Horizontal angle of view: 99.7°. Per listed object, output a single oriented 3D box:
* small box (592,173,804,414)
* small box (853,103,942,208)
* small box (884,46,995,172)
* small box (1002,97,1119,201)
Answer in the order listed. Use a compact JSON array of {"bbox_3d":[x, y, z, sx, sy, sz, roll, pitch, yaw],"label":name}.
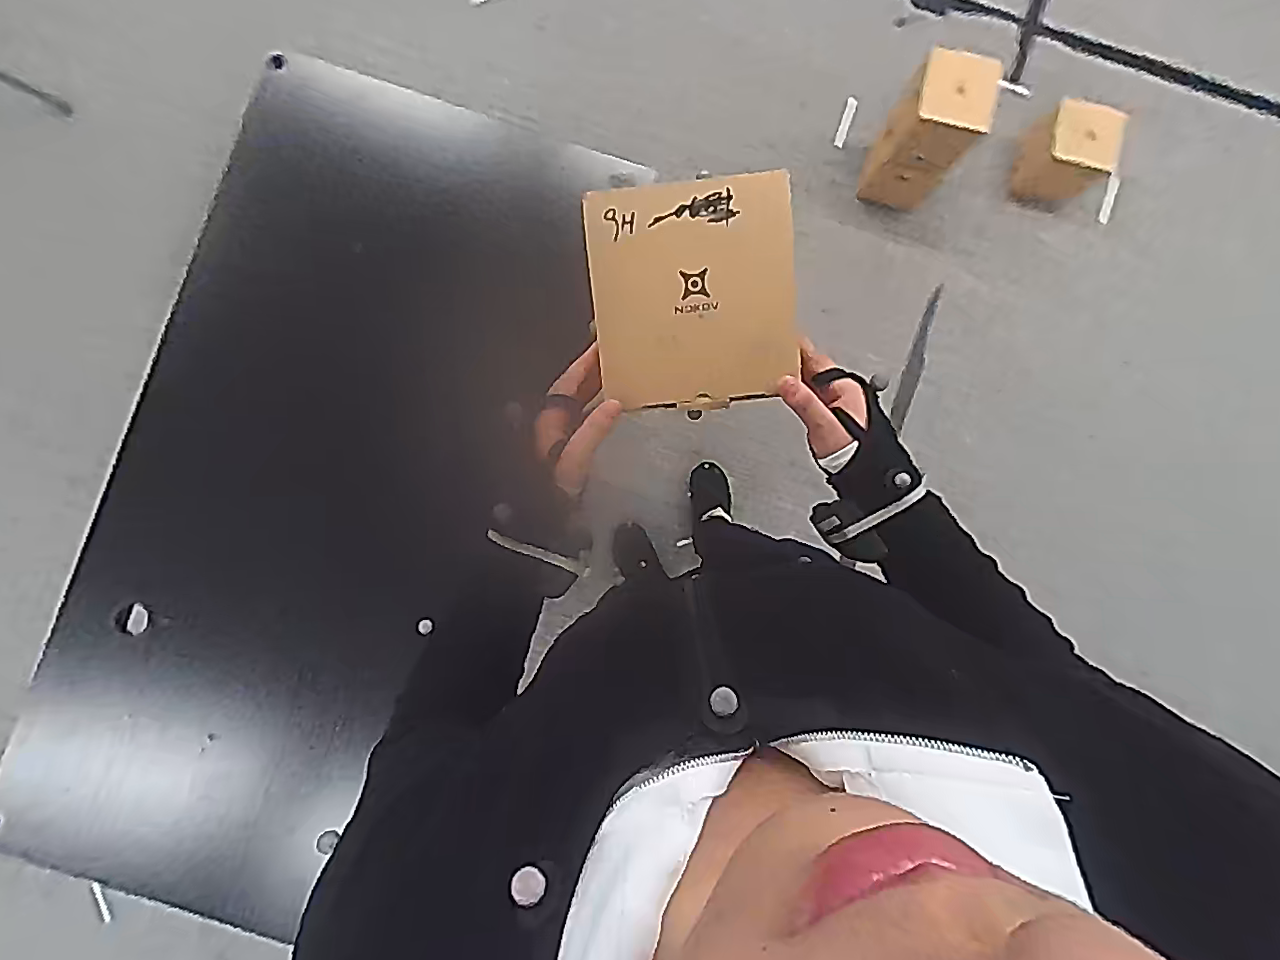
[{"bbox_3d":[0.052,-0.162,0.515,0.168,0.176,0.179,-5,100,2],"label":"small box"},{"bbox_3d":[0.713,-0.878,1.480,0.179,0.176,0.168,15,88,-1],"label":"small box"},{"bbox_3d":[0.720,-0.894,1.318,0.168,0.176,0.179,12,89,0],"label":"small box"},{"bbox_3d":[1.154,-0.904,1.494,0.179,0.176,0.168,12,88,-1],"label":"small box"}]
